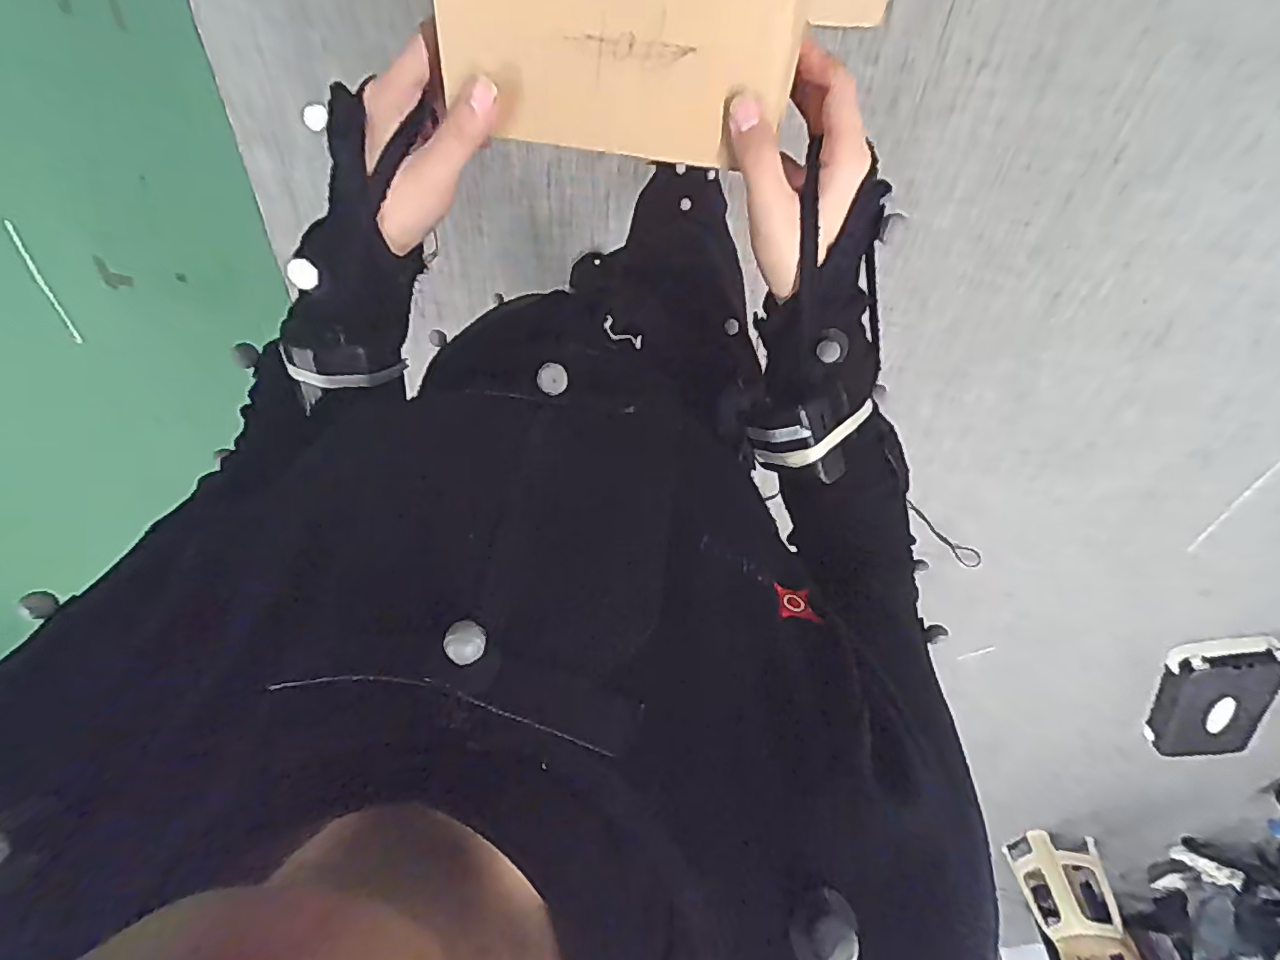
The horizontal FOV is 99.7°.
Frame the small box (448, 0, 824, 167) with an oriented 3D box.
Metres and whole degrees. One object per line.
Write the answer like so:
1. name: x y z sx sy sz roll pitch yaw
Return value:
1. small box: 0.008 -0.285 0.270 0.168 0.176 0.179 8 135 2
